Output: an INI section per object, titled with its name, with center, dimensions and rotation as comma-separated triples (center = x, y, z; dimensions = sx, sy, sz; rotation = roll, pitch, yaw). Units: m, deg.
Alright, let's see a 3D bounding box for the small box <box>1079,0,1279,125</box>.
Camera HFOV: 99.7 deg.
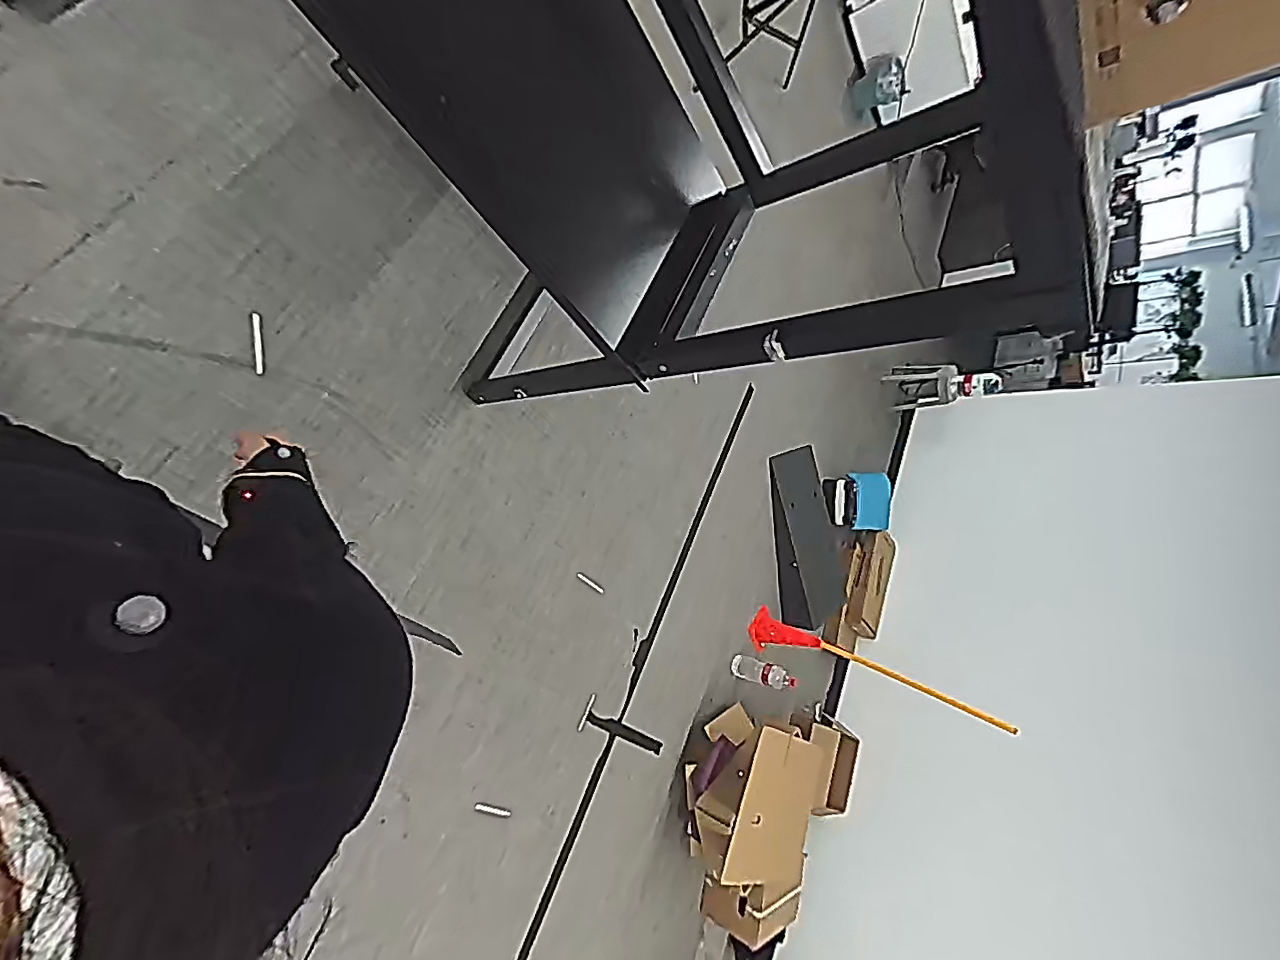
[small box]
center = 0.490, -0.459, 0.465
dimensions = 0.168, 0.176, 0.179
rotation = 45, 60, -37
